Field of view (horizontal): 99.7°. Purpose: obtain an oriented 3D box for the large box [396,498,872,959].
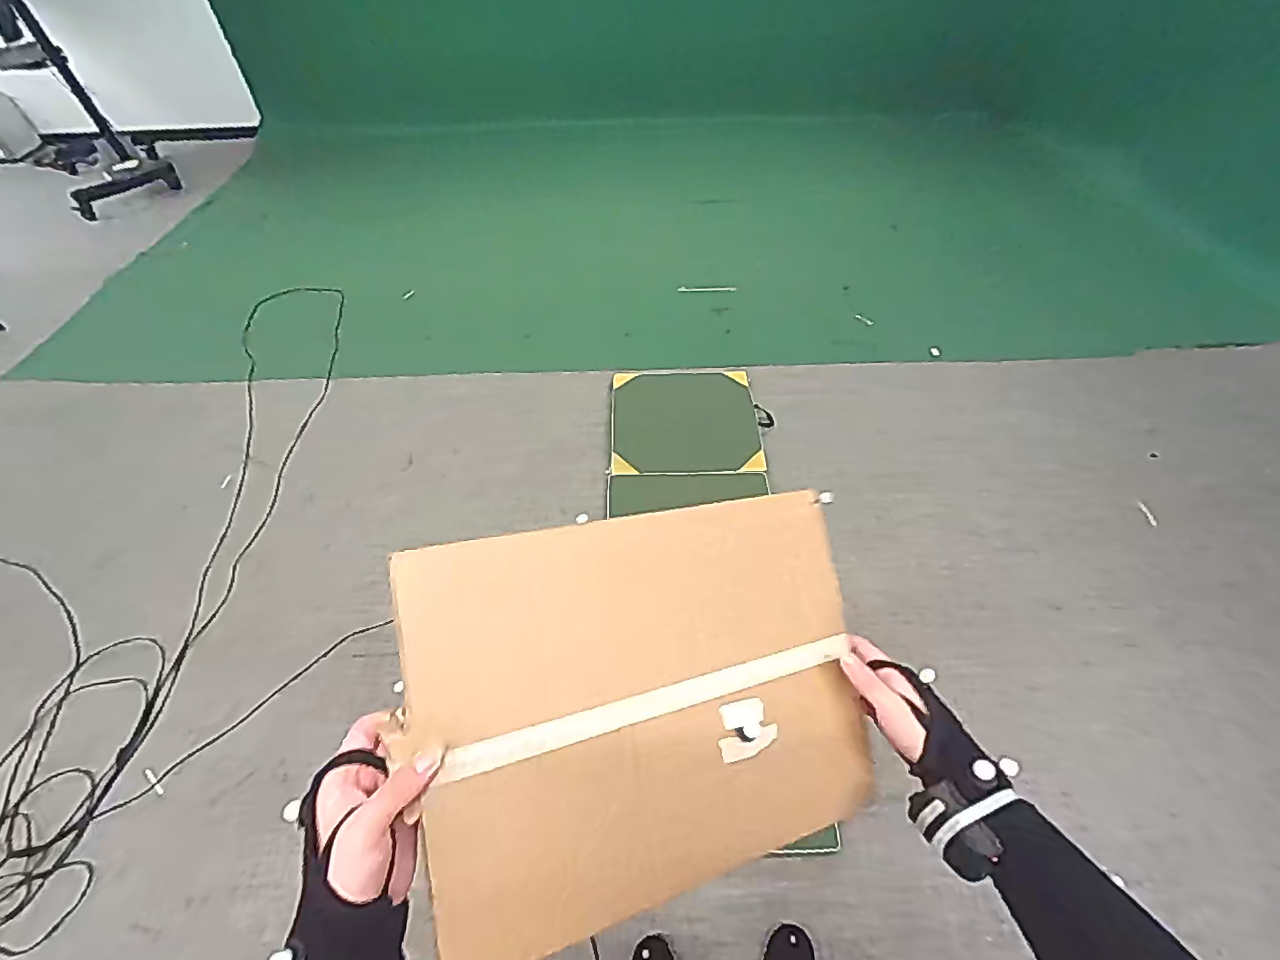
[{"bbox_3d":[-0.032,0.218,0.610,0.408,0.320,0.320,-7,84,-22],"label":"large box"}]
